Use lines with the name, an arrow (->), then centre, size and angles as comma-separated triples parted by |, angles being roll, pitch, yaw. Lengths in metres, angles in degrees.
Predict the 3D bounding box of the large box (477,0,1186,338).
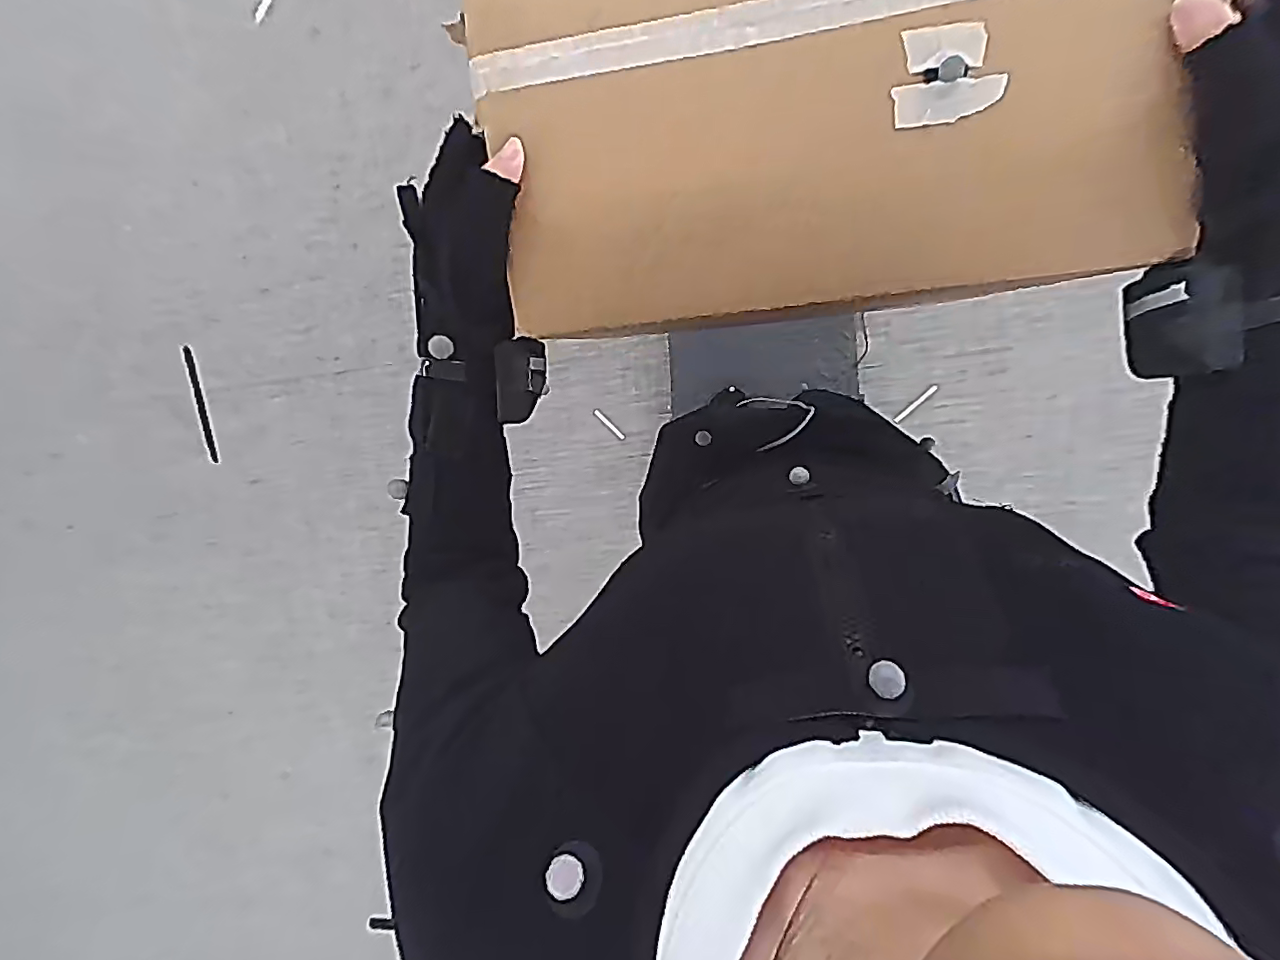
large box -> 0.114, -0.306, 0.461 | 0.408, 0.320, 0.320 | -5, 104, 8
